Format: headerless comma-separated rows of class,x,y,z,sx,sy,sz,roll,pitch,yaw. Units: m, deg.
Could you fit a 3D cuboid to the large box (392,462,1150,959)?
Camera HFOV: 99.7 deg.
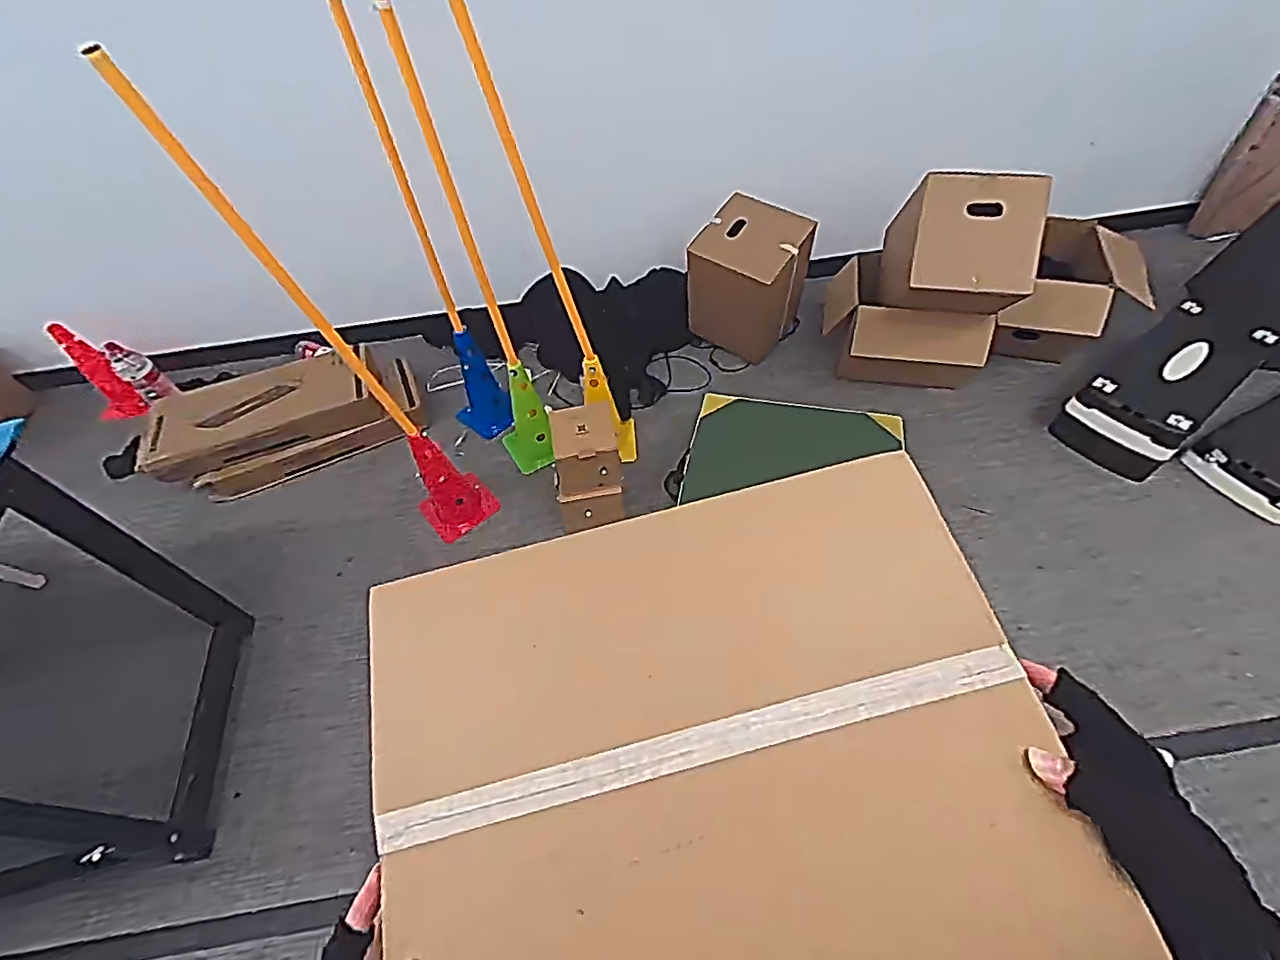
large box,0.056,0.233,0.476,0.408,0.320,0.320,-15,66,-1
